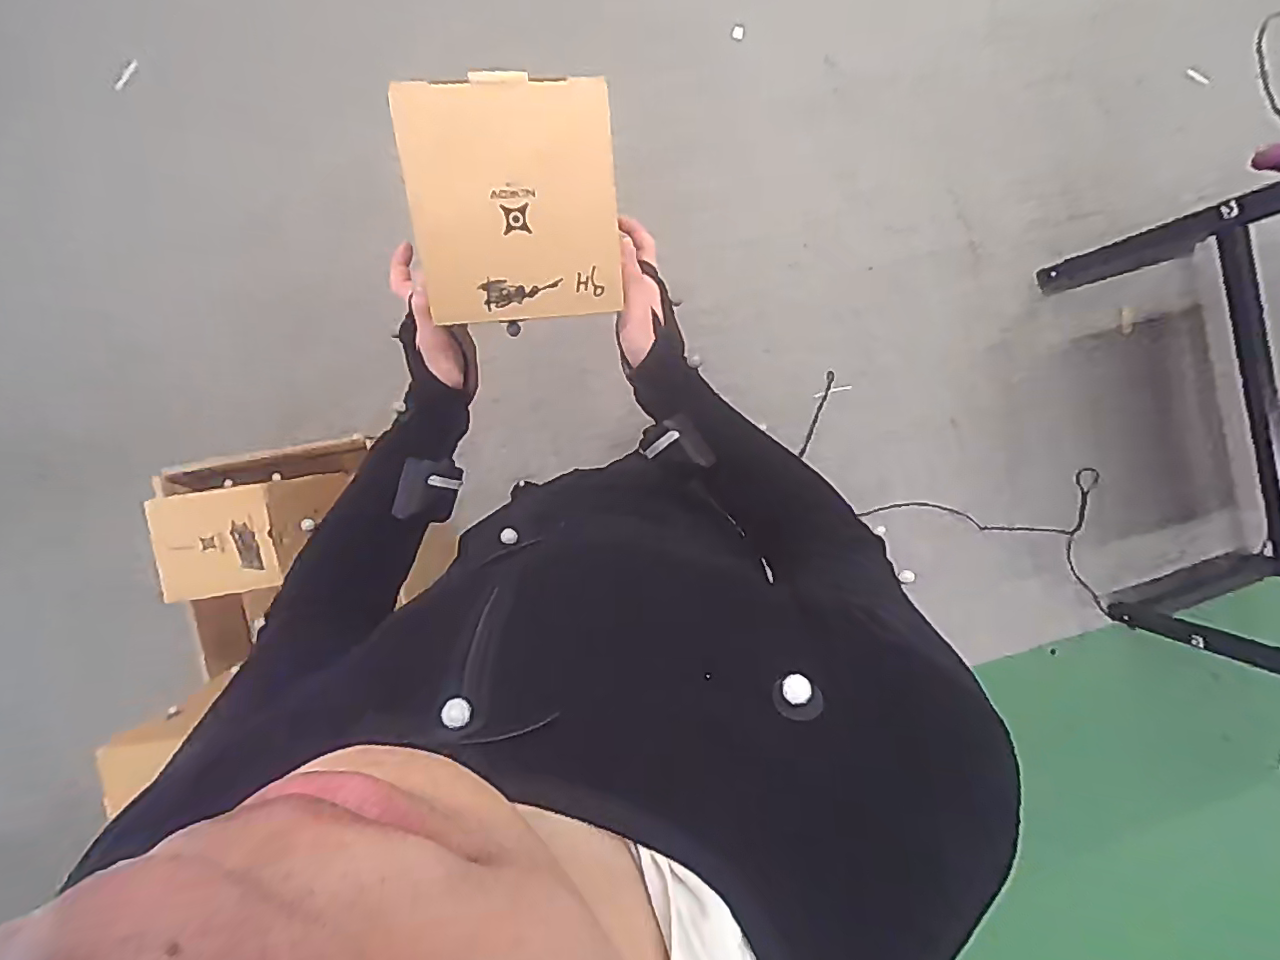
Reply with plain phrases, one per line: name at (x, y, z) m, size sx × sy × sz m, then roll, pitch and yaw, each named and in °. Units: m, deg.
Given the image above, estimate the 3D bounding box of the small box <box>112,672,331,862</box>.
small box at (-0.590, 0.403, 0.786) m, size 0.179 × 0.176 × 0.168 m, roll -9°, pitch 95°, yaw -4°

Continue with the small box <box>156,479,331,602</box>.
small box at (-0.658, 0.094, 0.926) m, size 0.179 × 0.176 × 0.168 m, roll -9°, pitch 94°, yaw -4°

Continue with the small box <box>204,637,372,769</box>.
small box at (-0.603, 0.393, 0.949) m, size 0.179 × 0.176 × 0.168 m, roll -9°, pitch 95°, yaw -4°

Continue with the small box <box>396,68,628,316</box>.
small box at (-0.105, -0.251, 0.509) m, size 0.168 × 0.176 × 0.179 m, roll -6°, pitch 110°, yaw -4°

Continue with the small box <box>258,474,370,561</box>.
small box at (-0.679, 0.083, 1.089) m, size 0.179 × 0.176 × 0.168 m, roll -11°, pitch 94°, yaw -5°
